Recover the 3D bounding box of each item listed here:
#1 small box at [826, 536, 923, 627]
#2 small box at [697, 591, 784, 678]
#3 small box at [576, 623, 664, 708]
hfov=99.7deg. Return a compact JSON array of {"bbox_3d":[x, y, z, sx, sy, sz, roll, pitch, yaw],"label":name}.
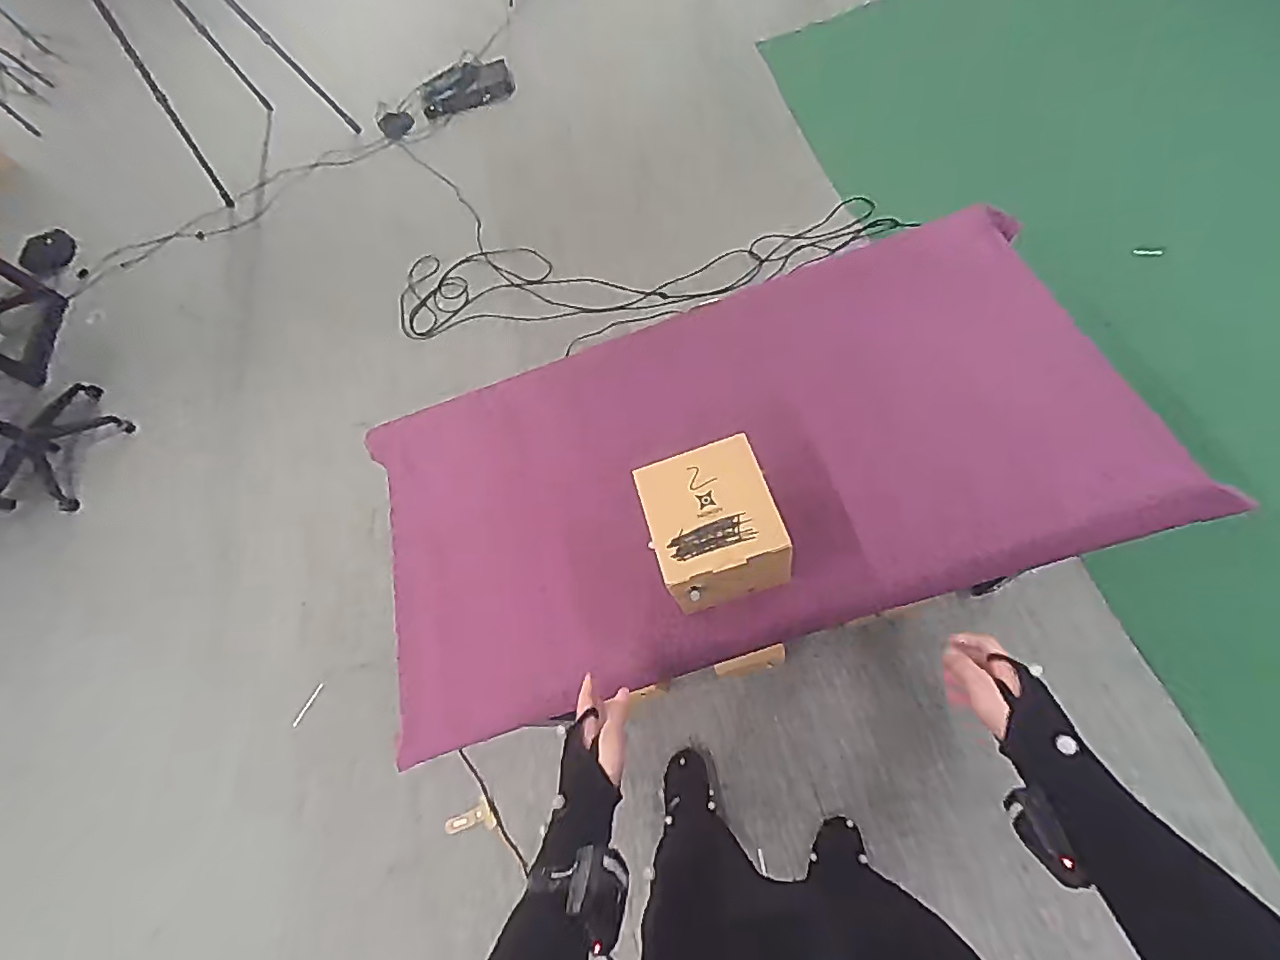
[{"bbox_3d":[0.585,0.265,1.379,0.179,0.176,0.168,-16,63,6],"label":"small box"},{"bbox_3d":[0.260,0.404,1.397,0.179,0.176,0.168,-18,62,6],"label":"small box"},{"bbox_3d":[-0.050,0.496,1.432,0.179,0.176,0.168,-19,63,4],"label":"small box"}]
